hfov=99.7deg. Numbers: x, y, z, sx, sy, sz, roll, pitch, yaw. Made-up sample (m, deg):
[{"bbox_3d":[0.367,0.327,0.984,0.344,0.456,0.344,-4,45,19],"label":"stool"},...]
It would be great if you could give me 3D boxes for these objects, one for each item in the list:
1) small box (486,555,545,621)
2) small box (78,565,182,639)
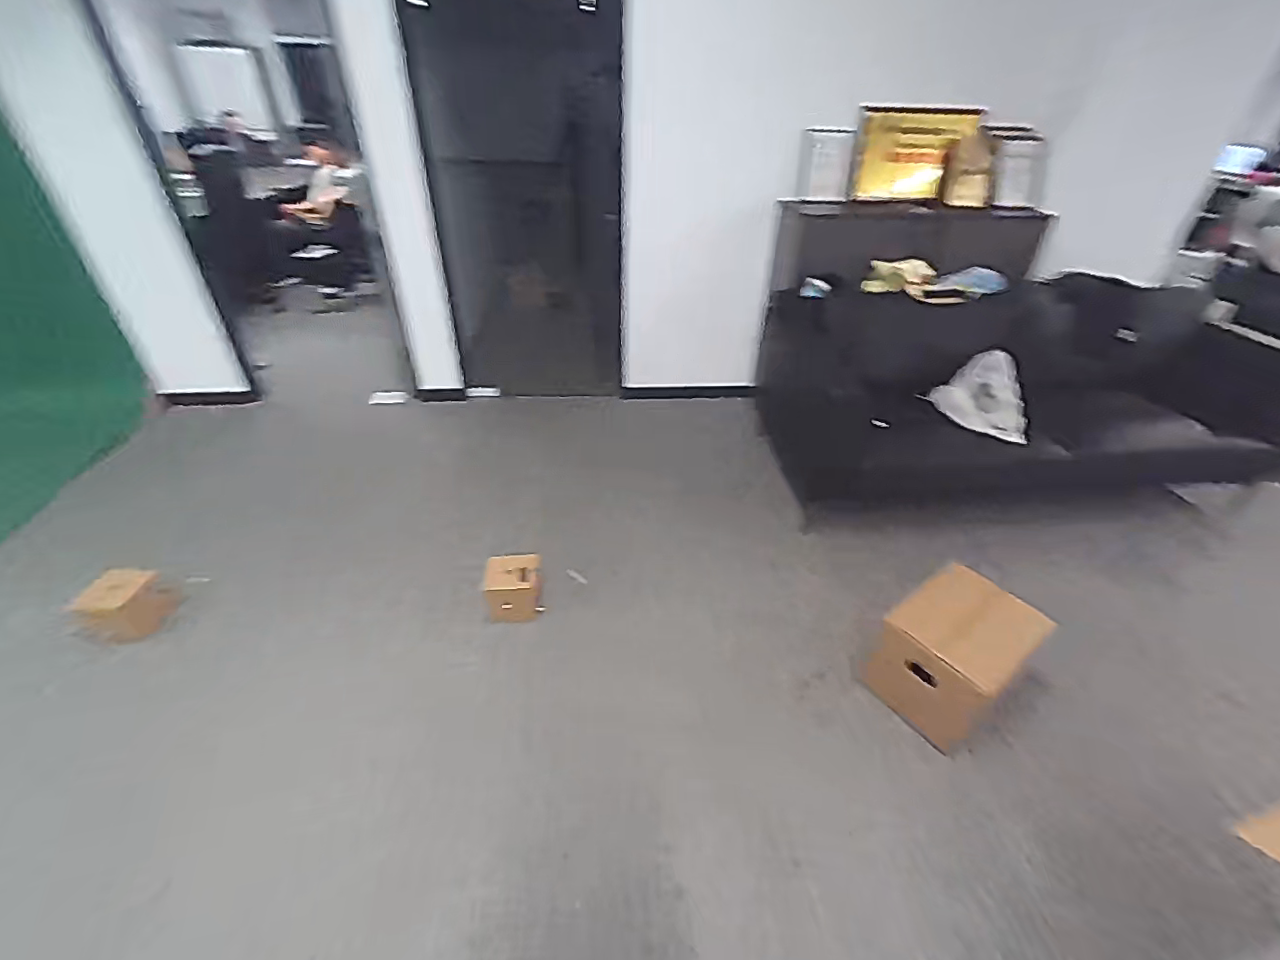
[{"bbox_3d":[-0.440,0.388,1.933,0.179,0.176,0.168,-1,36,-3],"label":"small box"},{"bbox_3d":[-1.706,0.410,1.827,0.168,0.176,0.179,2,36,1],"label":"small box"}]
